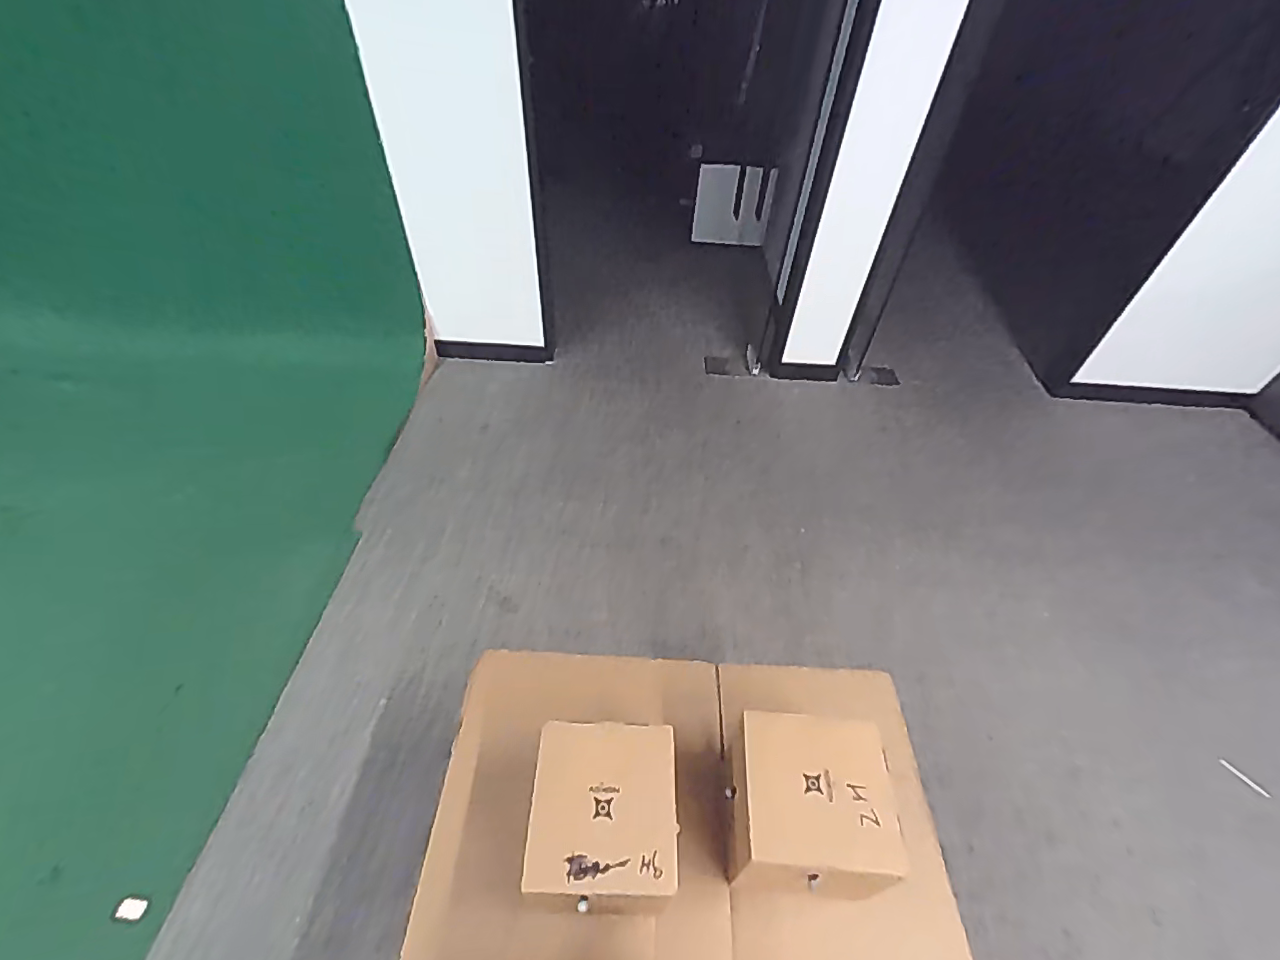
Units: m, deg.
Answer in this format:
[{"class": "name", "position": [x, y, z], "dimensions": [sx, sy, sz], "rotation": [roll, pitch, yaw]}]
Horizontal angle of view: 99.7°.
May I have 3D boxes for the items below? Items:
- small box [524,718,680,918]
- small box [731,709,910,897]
[{"class": "small box", "position": [-0.041, 0.421, 0.674], "dimensions": [0.168, 0.176, 0.179], "rotation": [2, 45, -1]}, {"class": "small box", "position": [0.211, 0.416, 0.694], "dimensions": [0.179, 0.176, 0.168], "rotation": [4, 46, 3]}]
